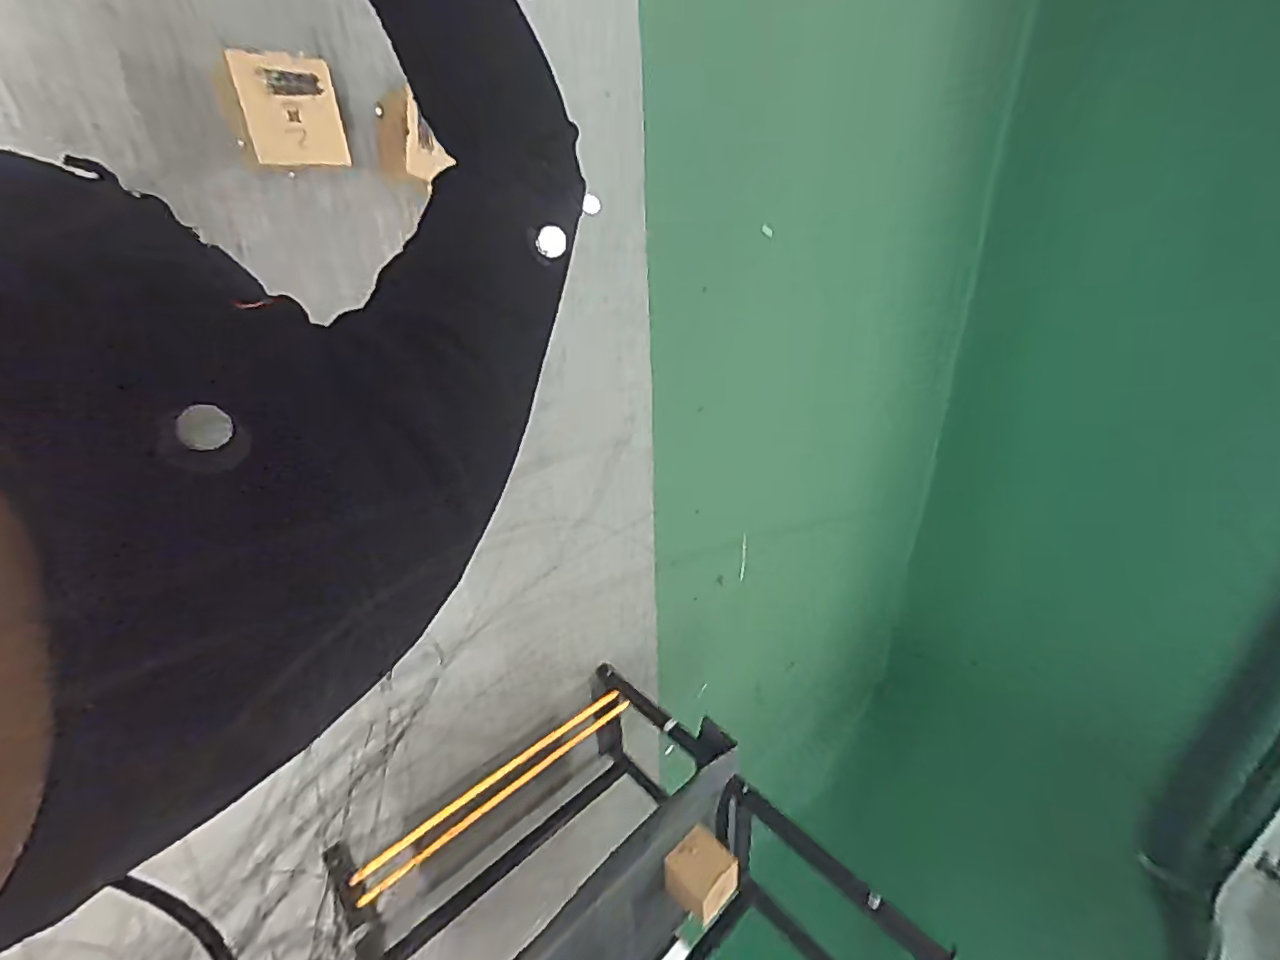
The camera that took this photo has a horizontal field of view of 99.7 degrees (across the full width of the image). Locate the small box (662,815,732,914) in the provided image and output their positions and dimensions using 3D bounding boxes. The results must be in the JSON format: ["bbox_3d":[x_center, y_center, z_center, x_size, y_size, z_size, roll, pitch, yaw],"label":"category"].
[{"bbox_3d":[0.186,1.263,1.790,0.168,0.176,0.179,-27,125,-35],"label":"small box"}]

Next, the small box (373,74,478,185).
[{"bbox_3d":[-0.498,-0.791,1.243,0.179,0.176,0.168,-8,114,-45],"label":"small box"}]
